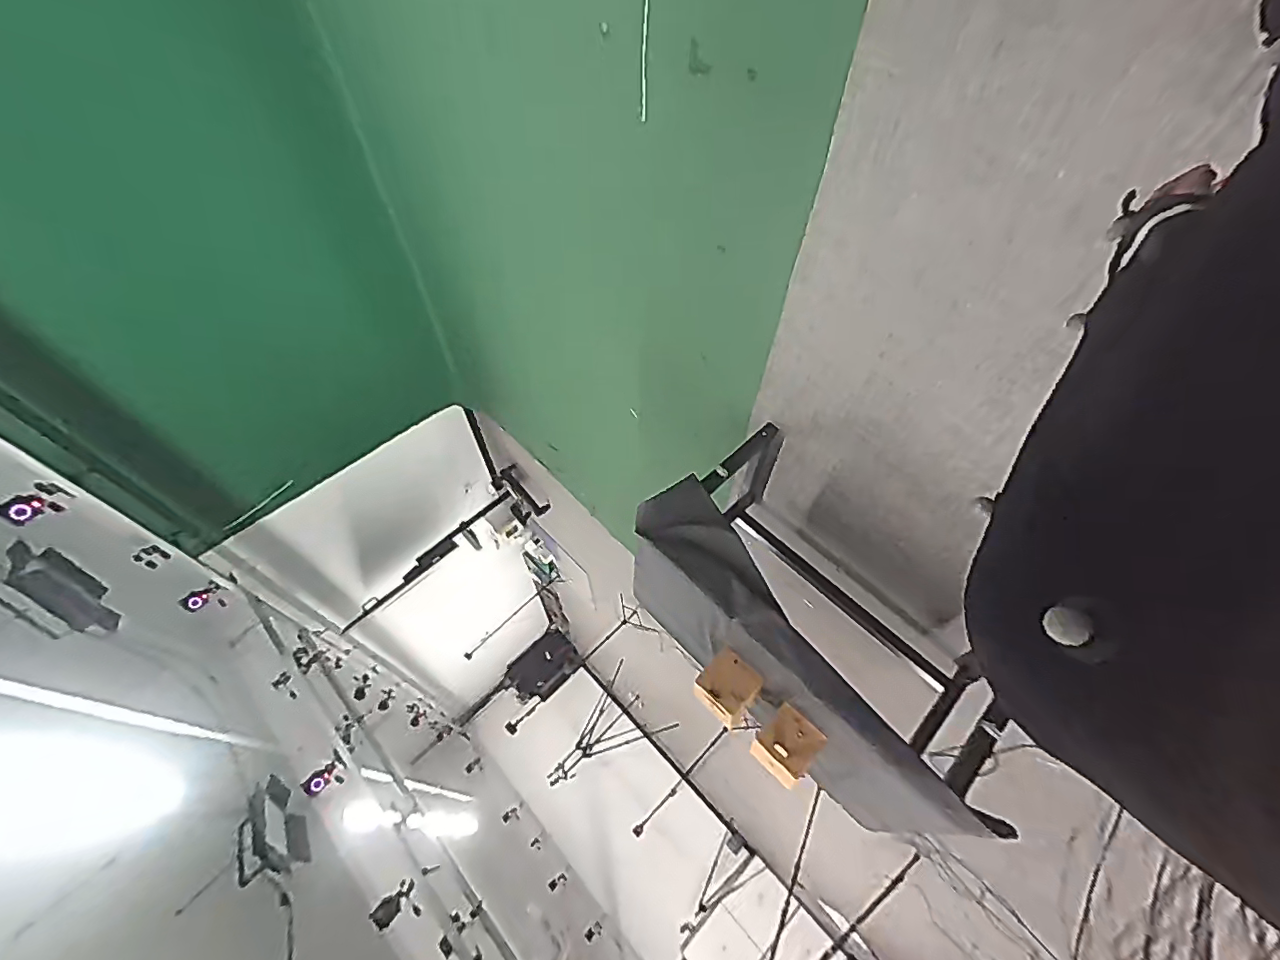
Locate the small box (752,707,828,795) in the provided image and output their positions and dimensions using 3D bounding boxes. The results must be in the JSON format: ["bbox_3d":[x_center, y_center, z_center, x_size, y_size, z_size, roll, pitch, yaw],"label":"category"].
[{"bbox_3d":[0.483,0.875,1.748,0.168,0.176,0.179,37,153,30],"label":"small box"}]
